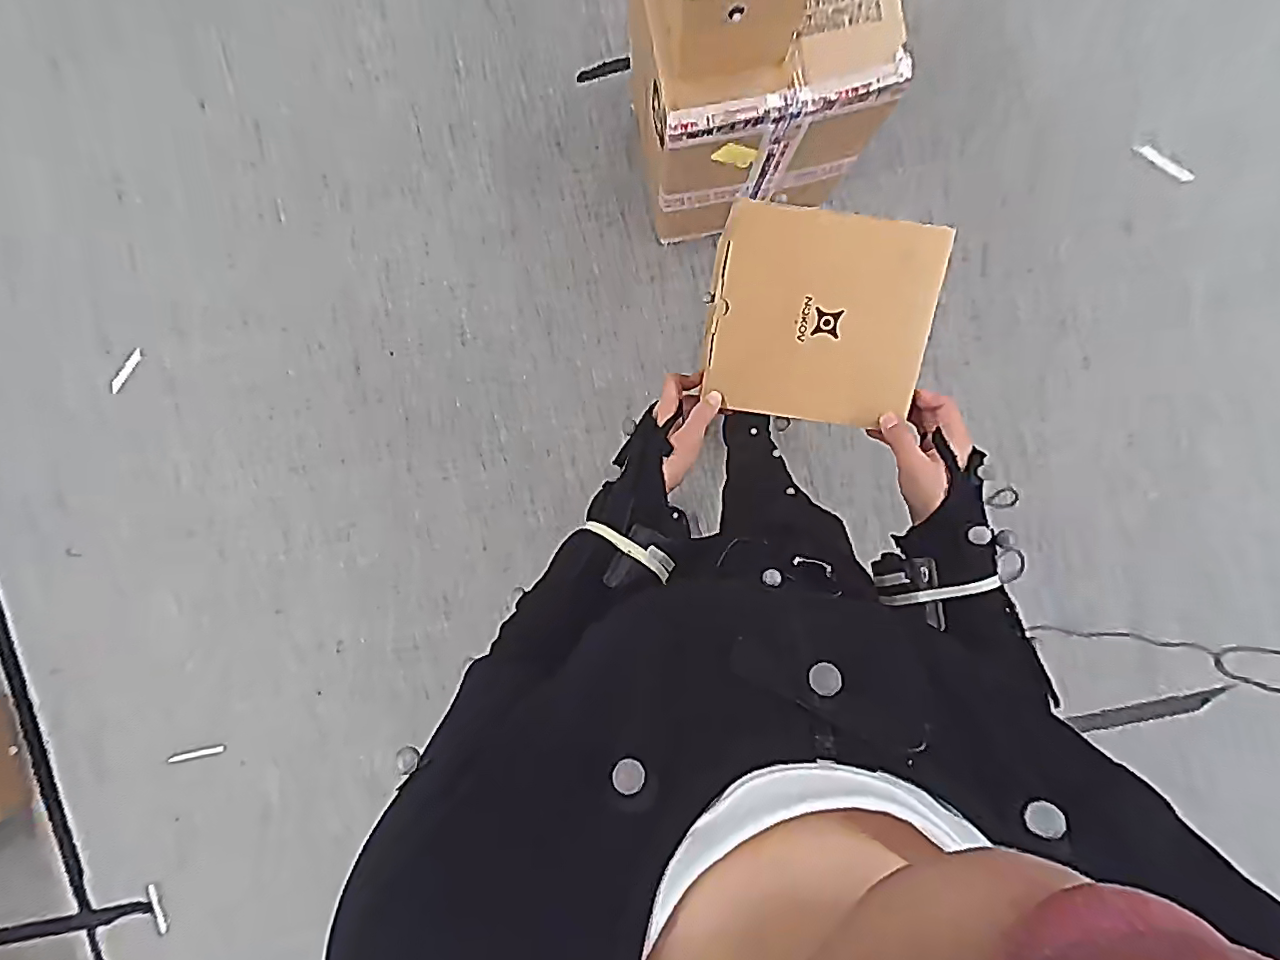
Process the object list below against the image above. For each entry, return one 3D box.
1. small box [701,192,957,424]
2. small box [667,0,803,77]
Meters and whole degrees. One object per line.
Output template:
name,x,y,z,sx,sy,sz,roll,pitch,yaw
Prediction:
small box,0.159,-0.159,0.523,0.179,0.176,0.168,9,105,3
small box,0.128,-0.705,0.750,0.179,0.176,0.168,-11,96,1
